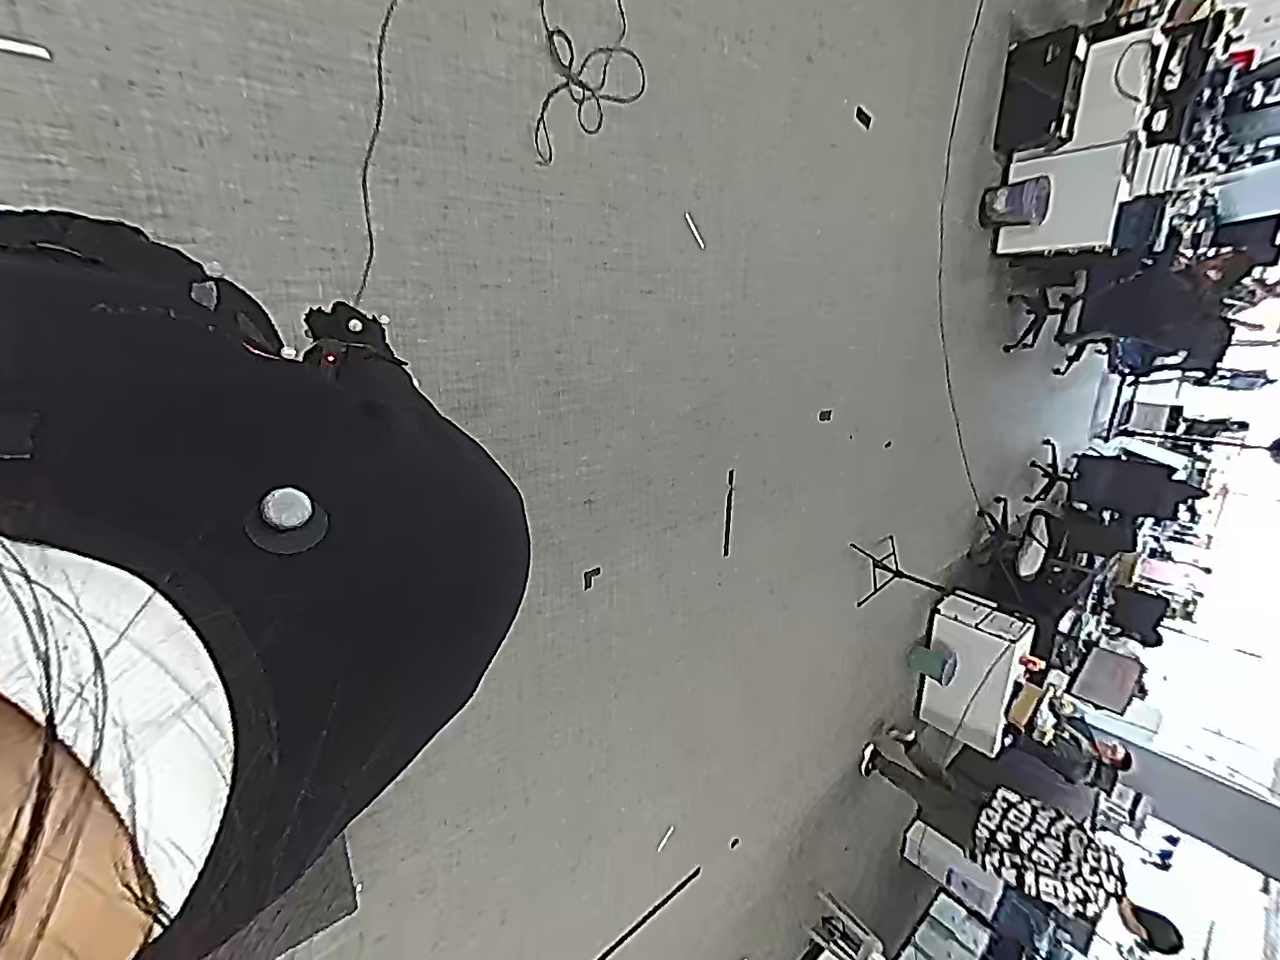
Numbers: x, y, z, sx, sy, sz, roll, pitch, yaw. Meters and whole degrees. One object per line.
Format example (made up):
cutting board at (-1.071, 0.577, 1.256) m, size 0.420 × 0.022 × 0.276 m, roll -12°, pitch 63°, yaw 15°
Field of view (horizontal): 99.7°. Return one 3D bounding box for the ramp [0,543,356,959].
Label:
ramp at (-0.988, 0.675, 1.212) m, size 0.509 × 0.206 × 0.991 m, roll -13°, pitch 111°, yaw -37°
